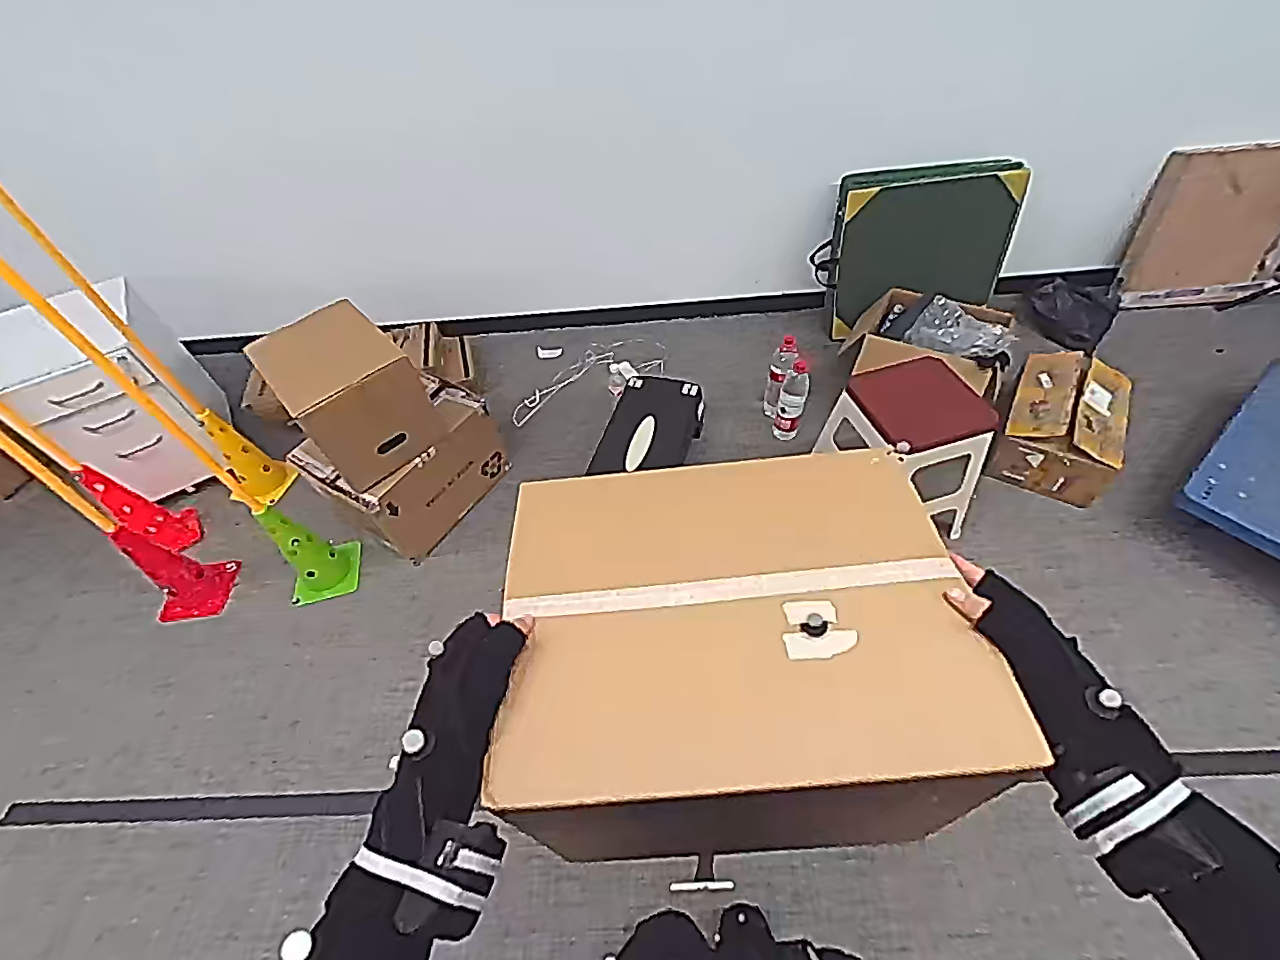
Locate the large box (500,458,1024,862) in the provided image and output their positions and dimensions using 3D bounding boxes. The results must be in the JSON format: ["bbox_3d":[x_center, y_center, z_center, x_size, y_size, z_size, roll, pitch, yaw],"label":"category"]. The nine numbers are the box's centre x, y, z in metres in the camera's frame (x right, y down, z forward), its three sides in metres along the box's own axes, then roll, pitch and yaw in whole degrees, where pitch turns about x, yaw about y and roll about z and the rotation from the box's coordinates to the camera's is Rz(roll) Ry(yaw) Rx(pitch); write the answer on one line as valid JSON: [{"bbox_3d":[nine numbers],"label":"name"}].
[{"bbox_3d":[0.092,0.208,0.610,0.408,0.320,0.320,-6,48,2],"label":"large box"}]
